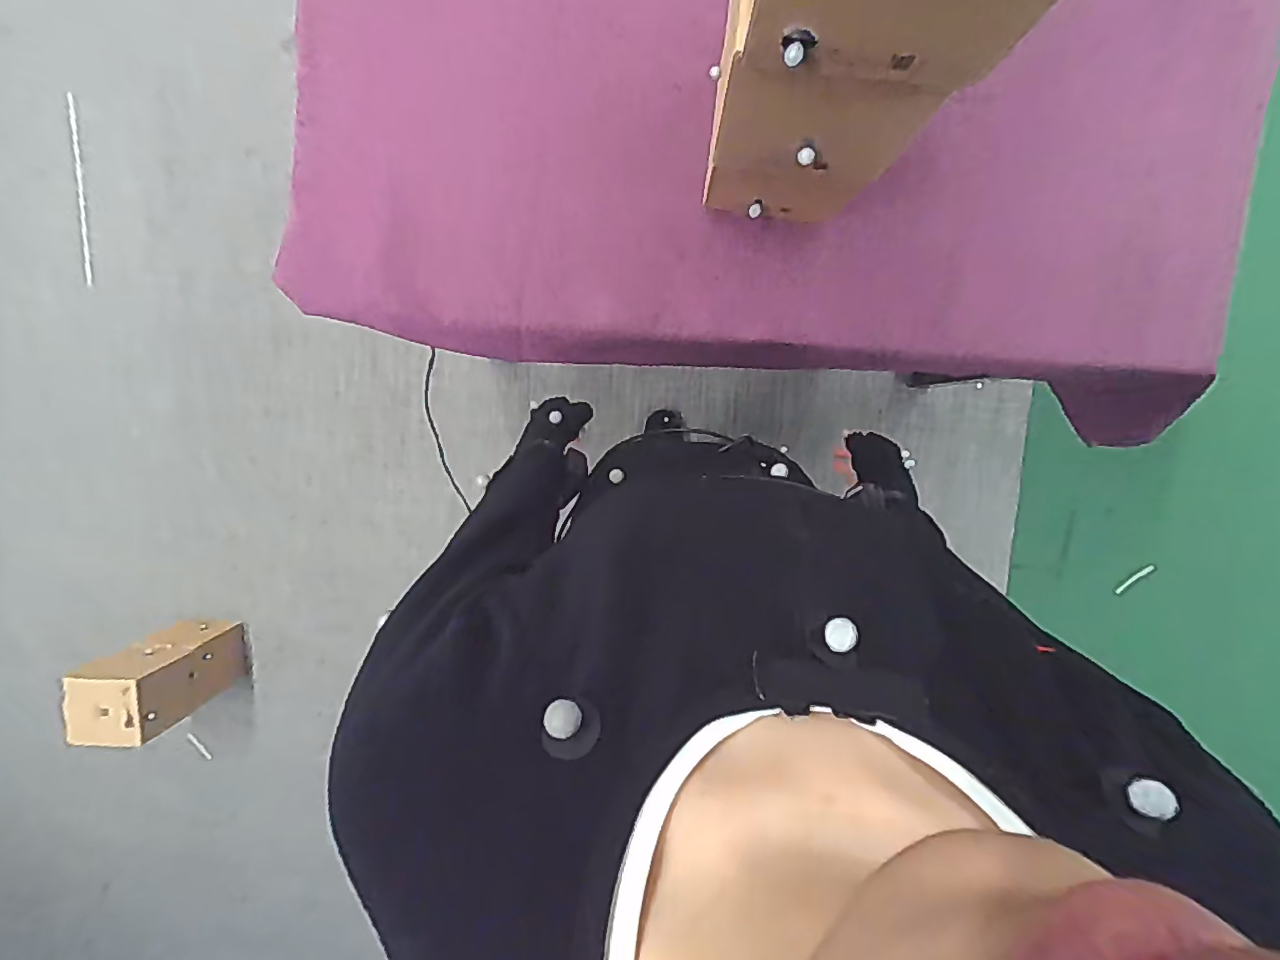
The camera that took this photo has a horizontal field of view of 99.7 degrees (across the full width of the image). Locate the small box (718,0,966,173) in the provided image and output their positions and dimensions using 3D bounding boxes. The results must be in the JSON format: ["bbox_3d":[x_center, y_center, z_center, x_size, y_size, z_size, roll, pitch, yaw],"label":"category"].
[{"bbox_3d":[0.161,-0.390,0.448,0.168,0.176,0.179,6,97,2],"label":"small box"}]

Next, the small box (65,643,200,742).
[{"bbox_3d":[-1.225,0.508,1.315,0.179,0.176,0.168,3,96,2],"label":"small box"}]

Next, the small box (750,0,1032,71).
[{"bbox_3d":[0.159,-0.362,0.286,0.168,0.176,0.179,7,96,1],"label":"small box"}]

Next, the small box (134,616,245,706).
[{"bbox_3d":[-1.221,0.489,1.479,0.168,0.176,0.179,2,97,1],"label":"small box"}]

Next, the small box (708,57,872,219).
[{"bbox_3d":[0.173,-0.423,0.609,0.168,0.176,0.179,8,97,1],"label":"small box"}]
